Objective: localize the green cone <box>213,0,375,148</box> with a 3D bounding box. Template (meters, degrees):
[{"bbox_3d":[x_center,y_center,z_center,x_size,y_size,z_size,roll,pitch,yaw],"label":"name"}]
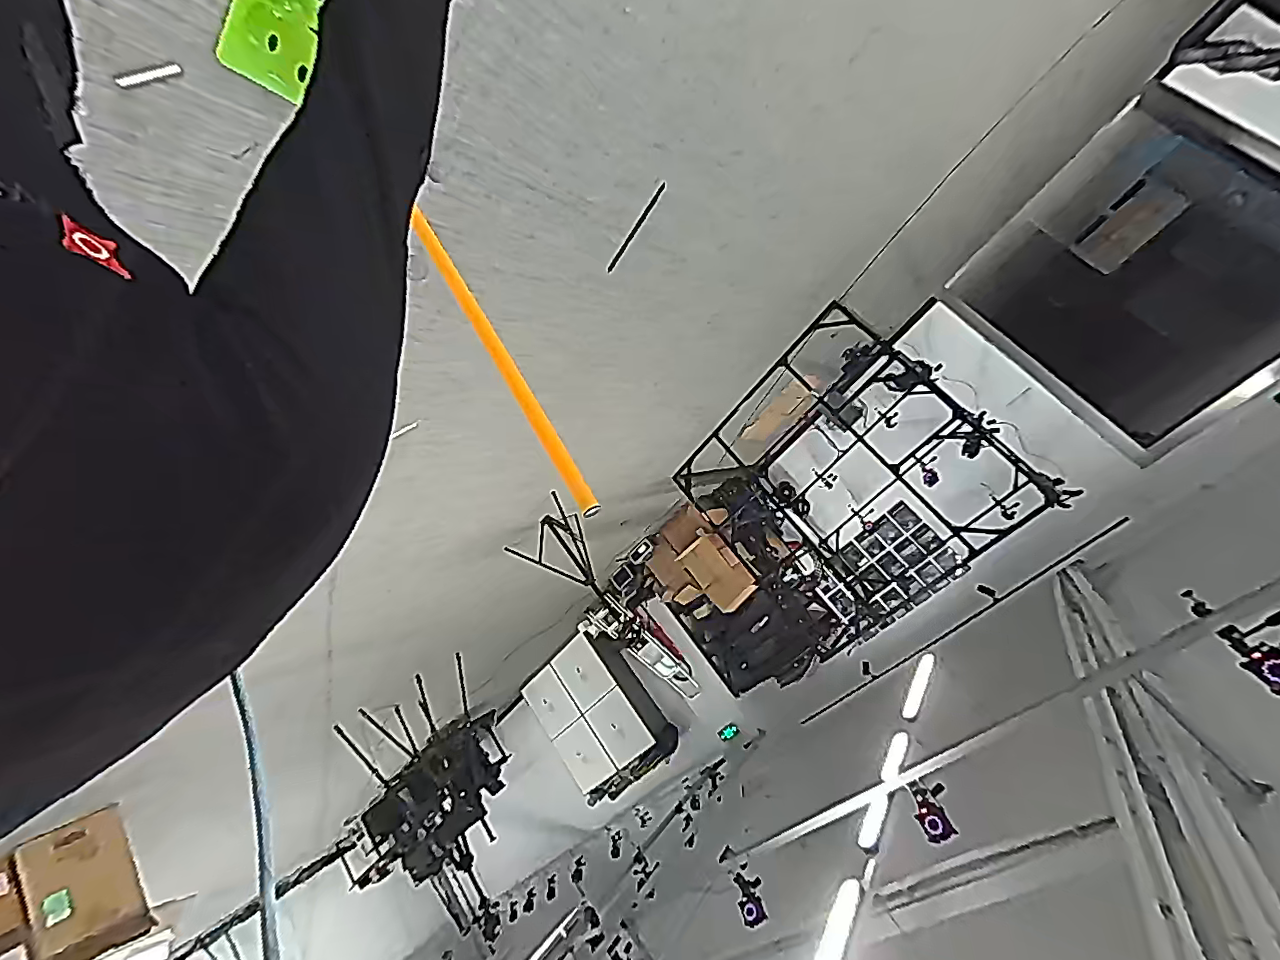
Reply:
[{"bbox_3d":[-0.613,-0.750,1.031,0.200,0.368,0.202,-47,161,23],"label":"green cone"}]
